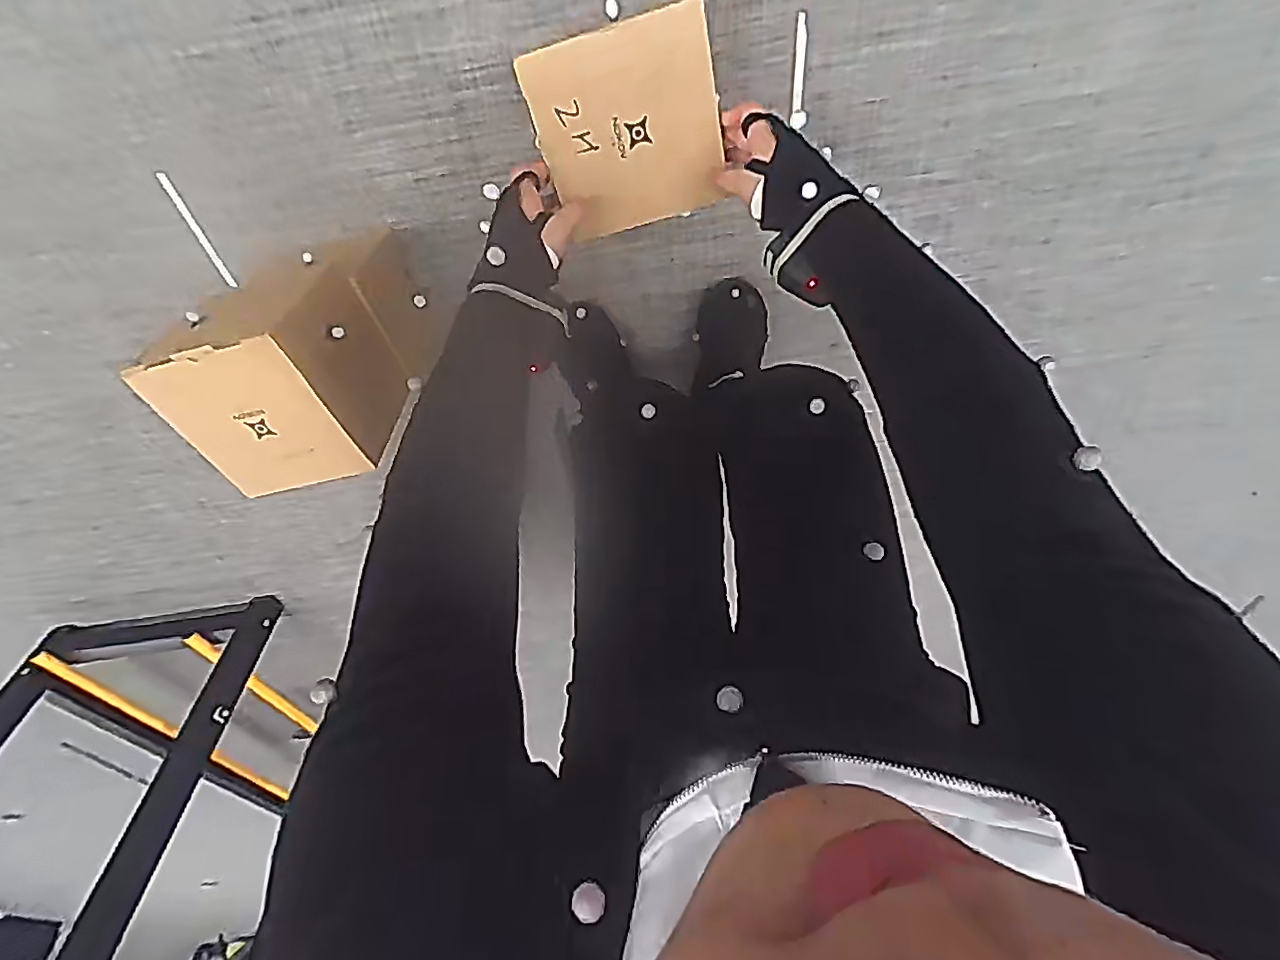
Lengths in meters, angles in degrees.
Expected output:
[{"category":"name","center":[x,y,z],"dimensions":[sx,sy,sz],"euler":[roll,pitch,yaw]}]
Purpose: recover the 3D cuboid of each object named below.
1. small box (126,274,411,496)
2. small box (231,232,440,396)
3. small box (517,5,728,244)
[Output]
[{"category":"small box","center":[-0.392,-0.112,0.613],"dimensions":[0.168,0.176,0.179],"euler":[-12,134,8]},{"category":"small box","center":[-0.401,-0.216,0.739],"dimensions":[0.179,0.176,0.168],"euler":[-10,133,4]},{"category":"small box","center":[-0.015,-0.384,0.582],"dimensions":[0.179,0.176,0.168],"euler":[-13,130,7]}]
